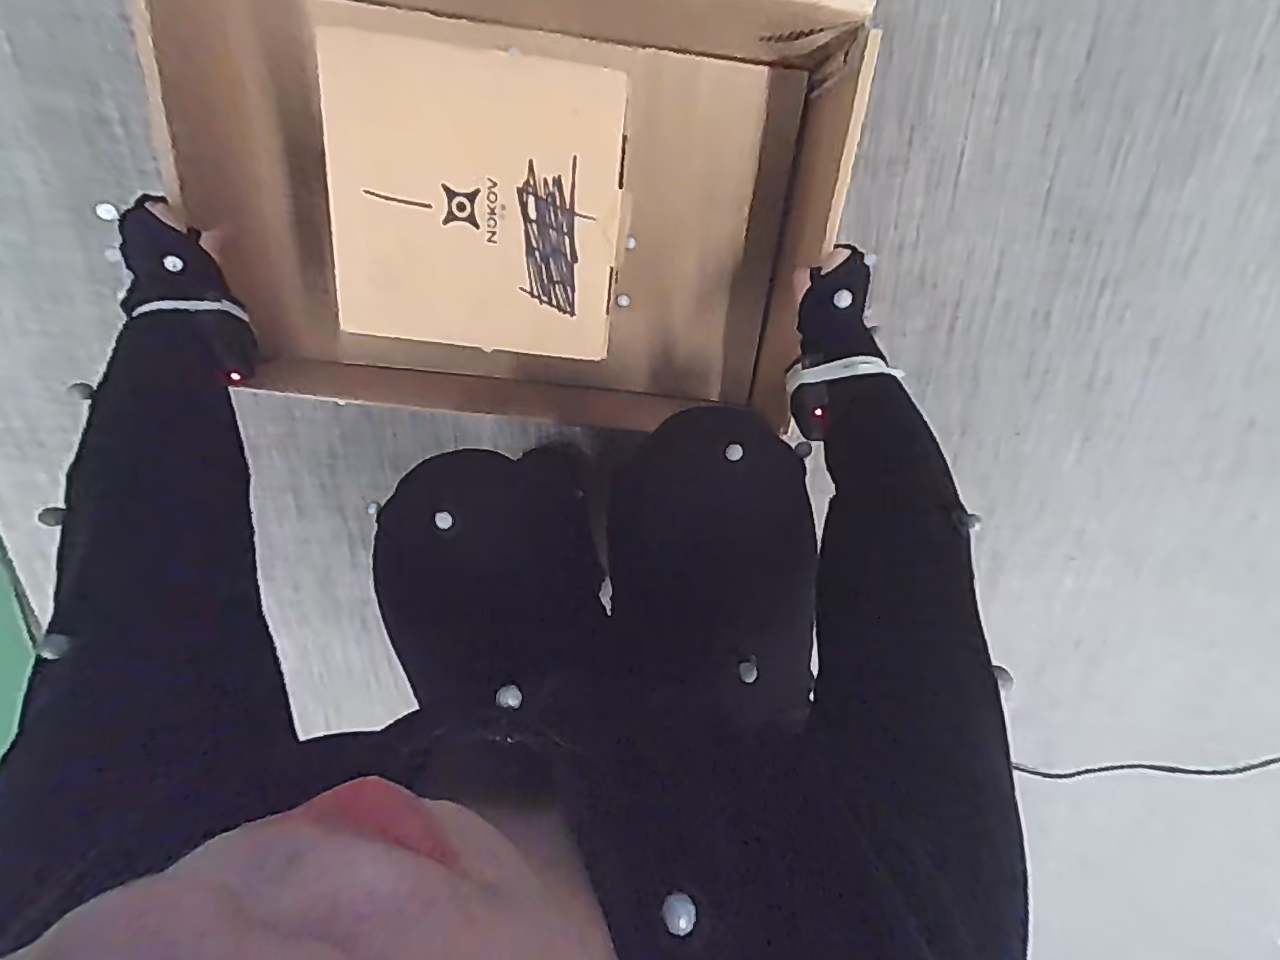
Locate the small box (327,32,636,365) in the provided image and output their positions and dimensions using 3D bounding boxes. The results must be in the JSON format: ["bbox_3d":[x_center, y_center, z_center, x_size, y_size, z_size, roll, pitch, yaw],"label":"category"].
[{"bbox_3d":[-0.098,-0.193,0.406,0.179,0.176,0.168,7,111,-2],"label":"small box"}]
